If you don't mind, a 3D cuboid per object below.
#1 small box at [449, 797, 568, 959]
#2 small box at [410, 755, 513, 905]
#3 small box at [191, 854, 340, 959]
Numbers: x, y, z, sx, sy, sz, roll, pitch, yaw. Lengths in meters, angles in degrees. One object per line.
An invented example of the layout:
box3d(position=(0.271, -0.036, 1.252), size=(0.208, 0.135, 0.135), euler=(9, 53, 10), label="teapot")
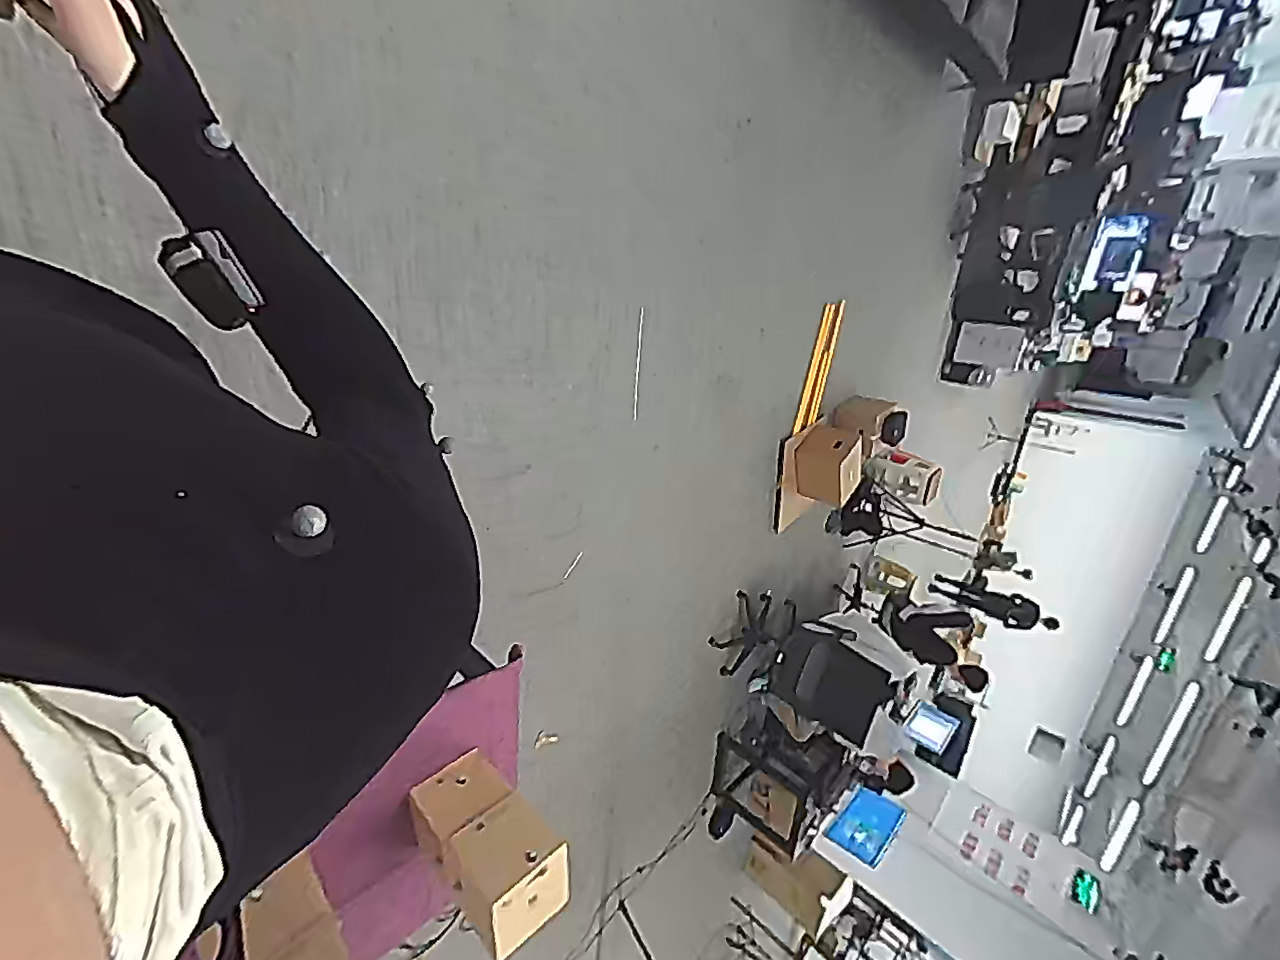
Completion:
box3d(position=(-0.258, 0.781, 1.066), size=(0.168, 0.176, 0.179), euler=(-18, 119, -43), label="small box")
box3d(position=(-0.377, 0.749, 1.175), size=(0.168, 0.176, 0.179), euler=(-20, 120, -42), label="small box")
box3d(position=(-0.625, 0.794, 0.912), size=(0.168, 0.176, 0.179), euler=(-17, 118, -44), label="small box")
